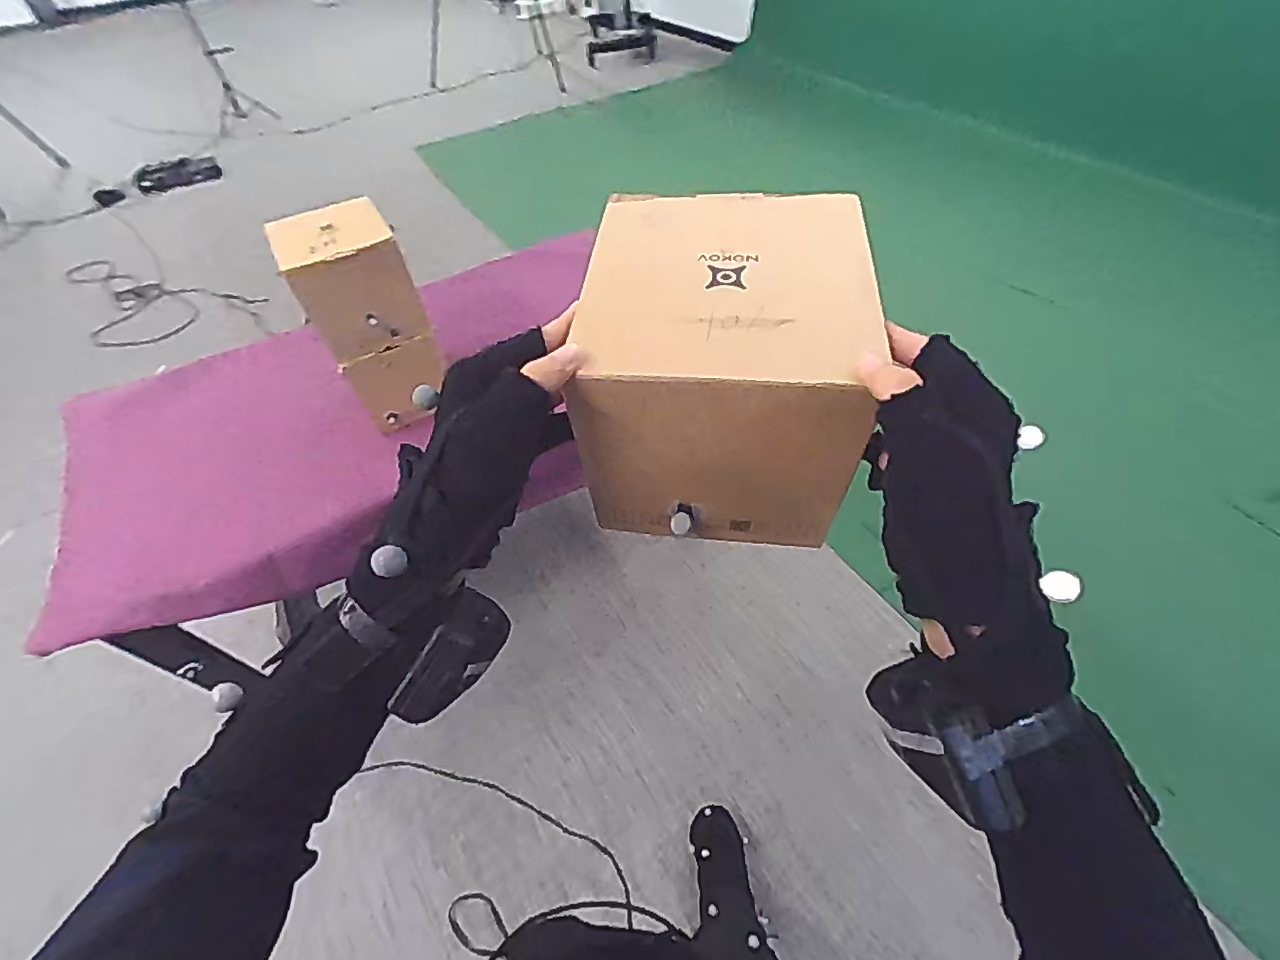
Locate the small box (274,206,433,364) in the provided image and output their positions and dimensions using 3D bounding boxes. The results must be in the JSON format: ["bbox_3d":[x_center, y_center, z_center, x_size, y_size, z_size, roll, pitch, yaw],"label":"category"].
[{"bbox_3d":[-0.475,-0.326,0.910,0.168,0.176,0.179,-27,55,-17],"label":"small box"}]

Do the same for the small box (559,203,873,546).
[{"bbox_3d":[0.051,-0.073,0.391,0.168,0.176,0.179,3,55,7],"label":"small box"}]

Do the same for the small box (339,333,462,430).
[{"bbox_3d":[-0.463,-0.218,1.033,0.168,0.176,0.179,-26,54,-17],"label":"small box"}]
